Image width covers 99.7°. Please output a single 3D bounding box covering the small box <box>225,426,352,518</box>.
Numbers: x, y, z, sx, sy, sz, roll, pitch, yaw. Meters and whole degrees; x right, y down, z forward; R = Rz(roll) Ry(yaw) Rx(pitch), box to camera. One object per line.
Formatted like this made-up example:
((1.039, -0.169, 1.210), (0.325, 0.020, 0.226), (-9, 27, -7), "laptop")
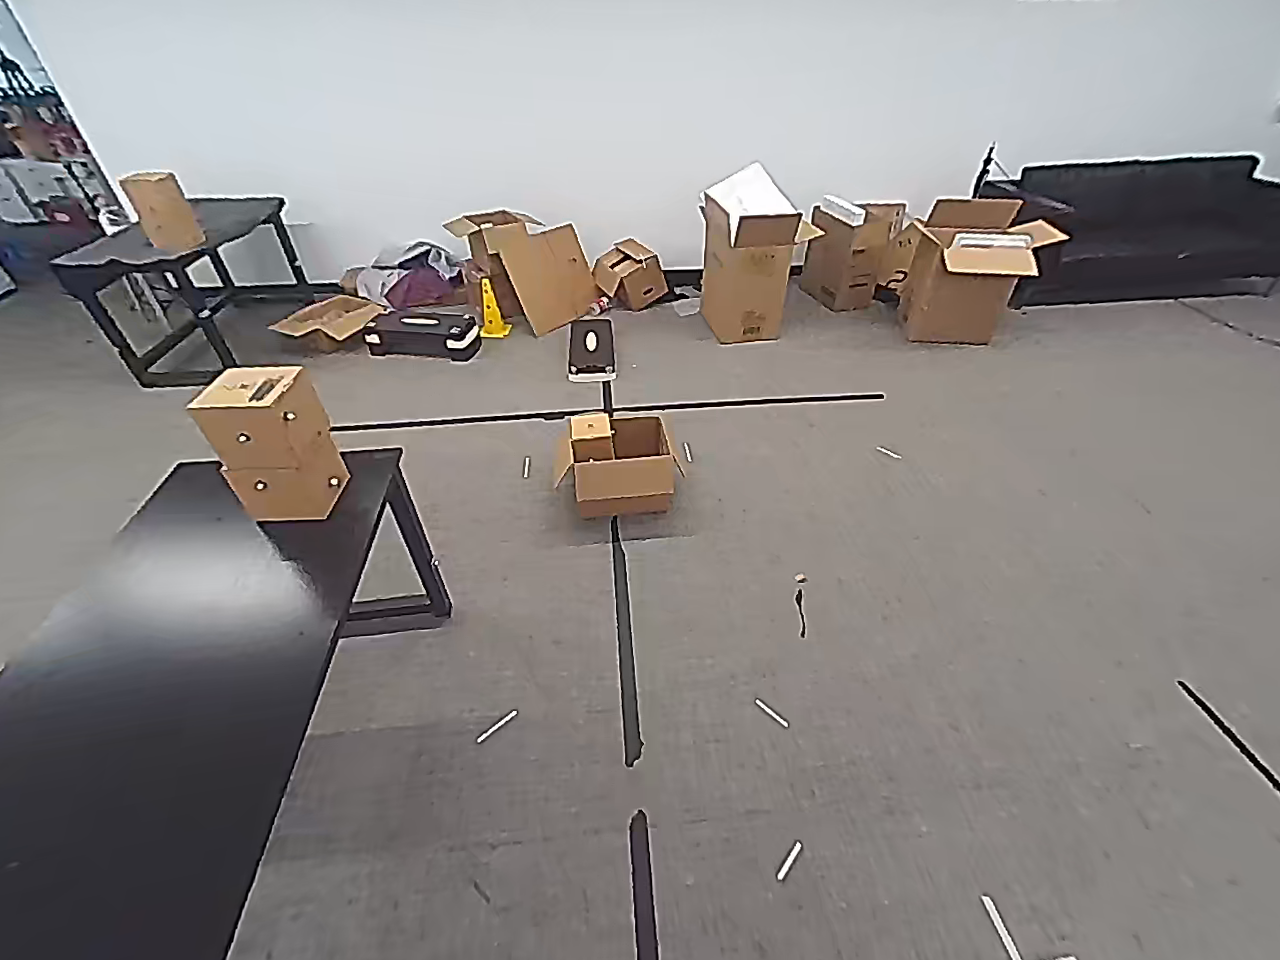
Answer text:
((-0.852, -0.018, 1.330), (0.179, 0.176, 0.168), (-1, 42, -1), "small box")
